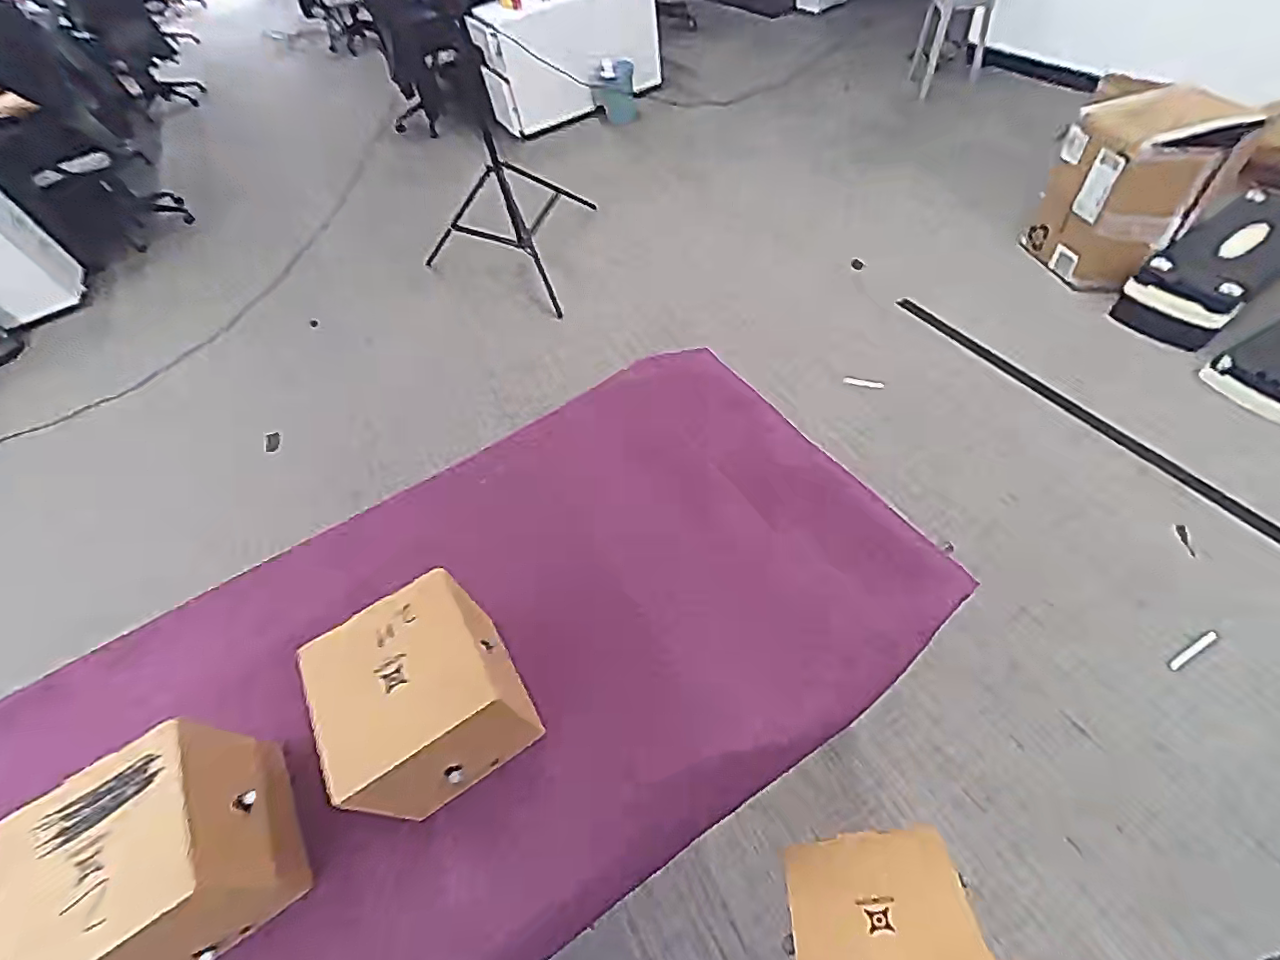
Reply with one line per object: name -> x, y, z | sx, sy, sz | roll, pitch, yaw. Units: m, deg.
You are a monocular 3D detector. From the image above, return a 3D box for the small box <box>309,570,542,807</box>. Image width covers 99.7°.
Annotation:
small box -> -0.232, 0.241, 0.613 | 0.168, 0.176, 0.179 | -30, 54, -14
